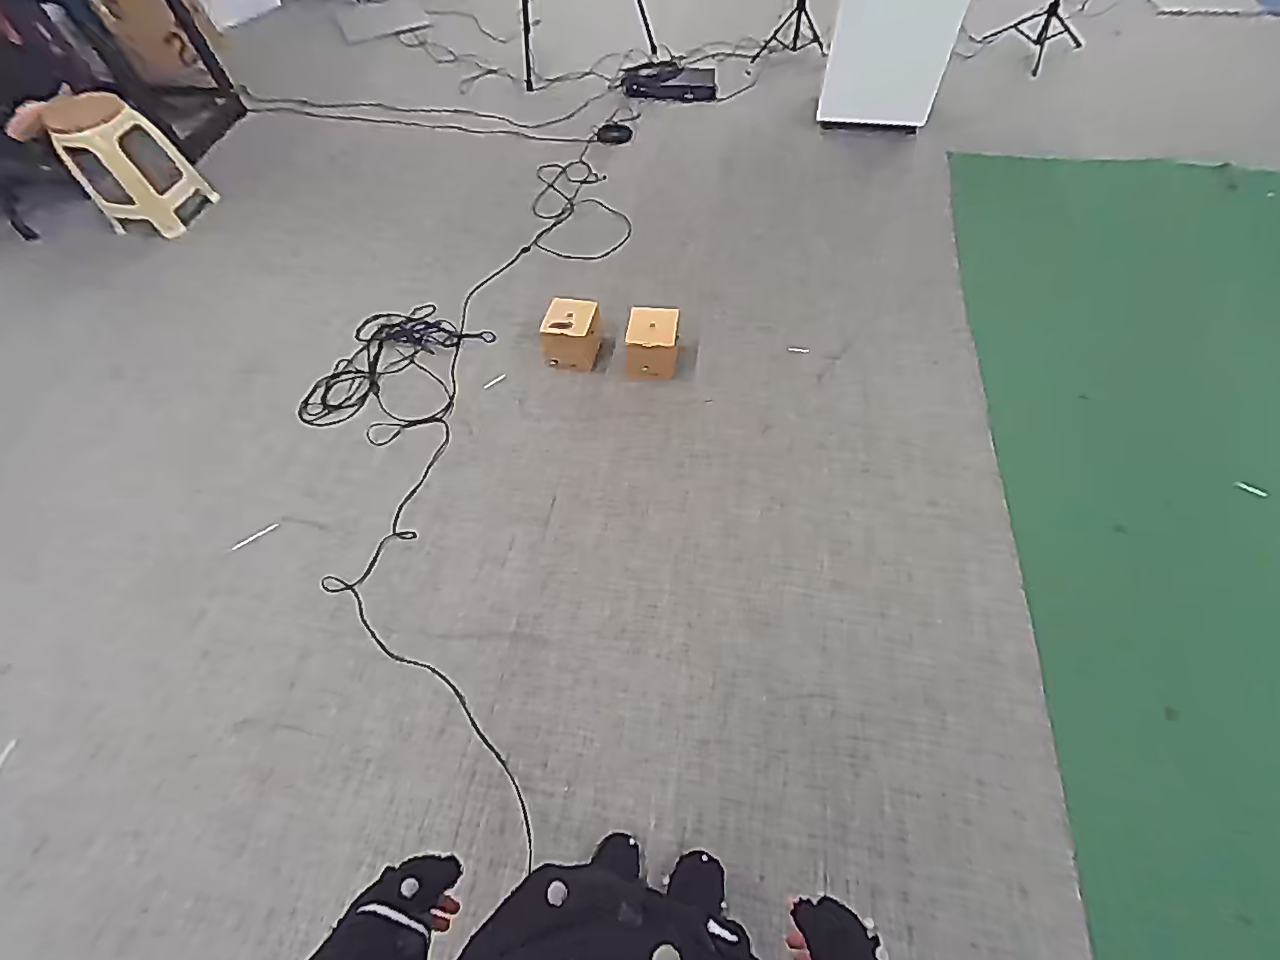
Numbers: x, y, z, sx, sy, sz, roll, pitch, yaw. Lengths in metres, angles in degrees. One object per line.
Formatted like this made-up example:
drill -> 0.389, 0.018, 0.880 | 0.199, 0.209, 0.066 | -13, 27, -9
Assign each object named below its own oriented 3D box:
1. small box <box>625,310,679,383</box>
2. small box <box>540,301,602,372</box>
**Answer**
small box -> 0.045, -0.466, 1.891 | 0.168, 0.176, 0.179 | 5, 60, 6
small box -> -0.240, -0.509, 1.931 | 0.168, 0.176, 0.179 | 9, 59, 9
